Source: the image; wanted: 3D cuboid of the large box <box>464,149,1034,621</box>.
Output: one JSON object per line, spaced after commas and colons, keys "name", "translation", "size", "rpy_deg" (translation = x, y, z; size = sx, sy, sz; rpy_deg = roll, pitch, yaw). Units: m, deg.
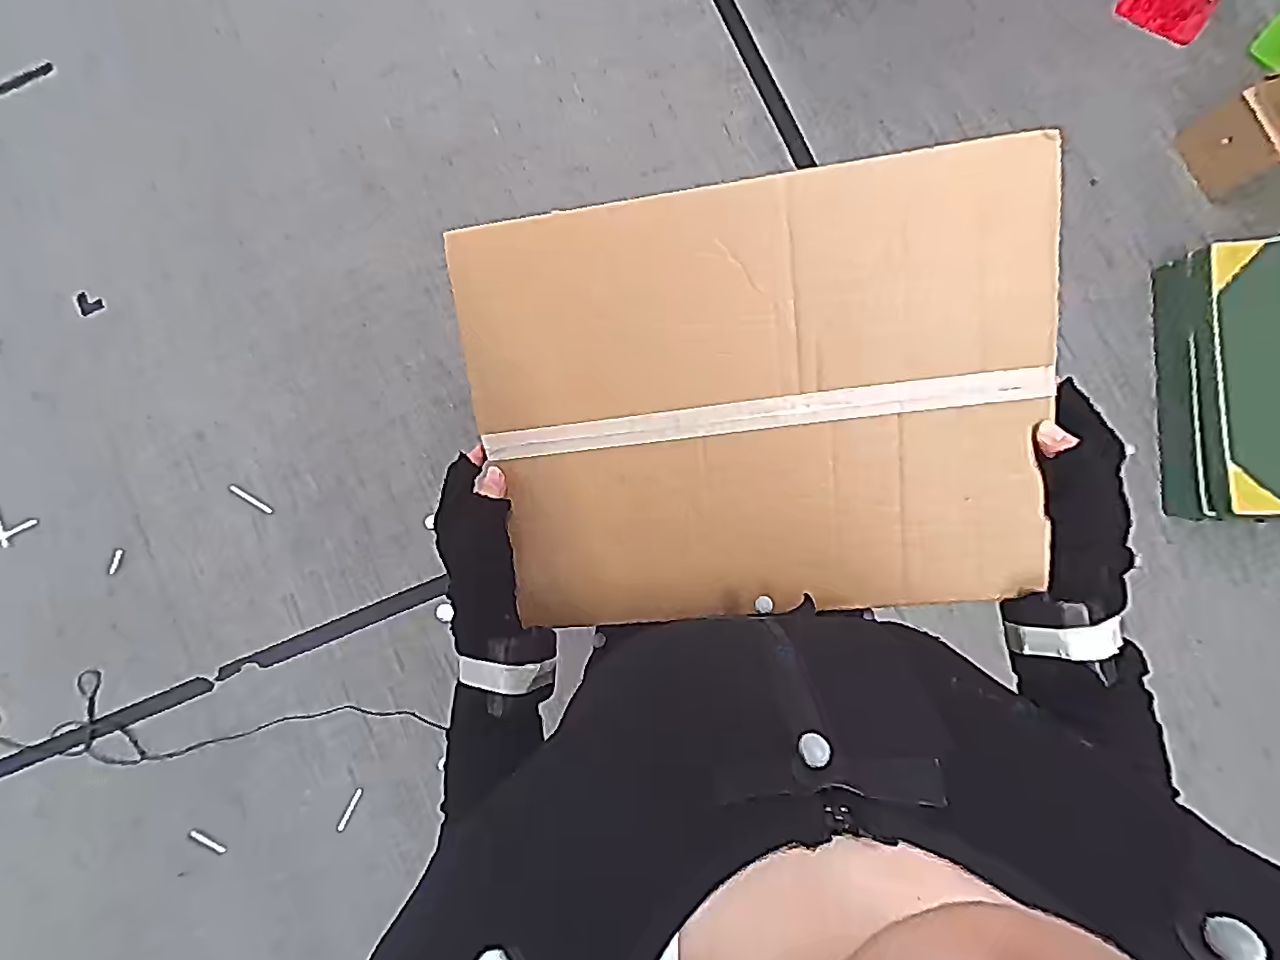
{"name": "large box", "translation": [0.095, -0.080, 0.554], "size": [0.408, 0.320, 0.320], "rpy_deg": [-6, 103, 7]}
